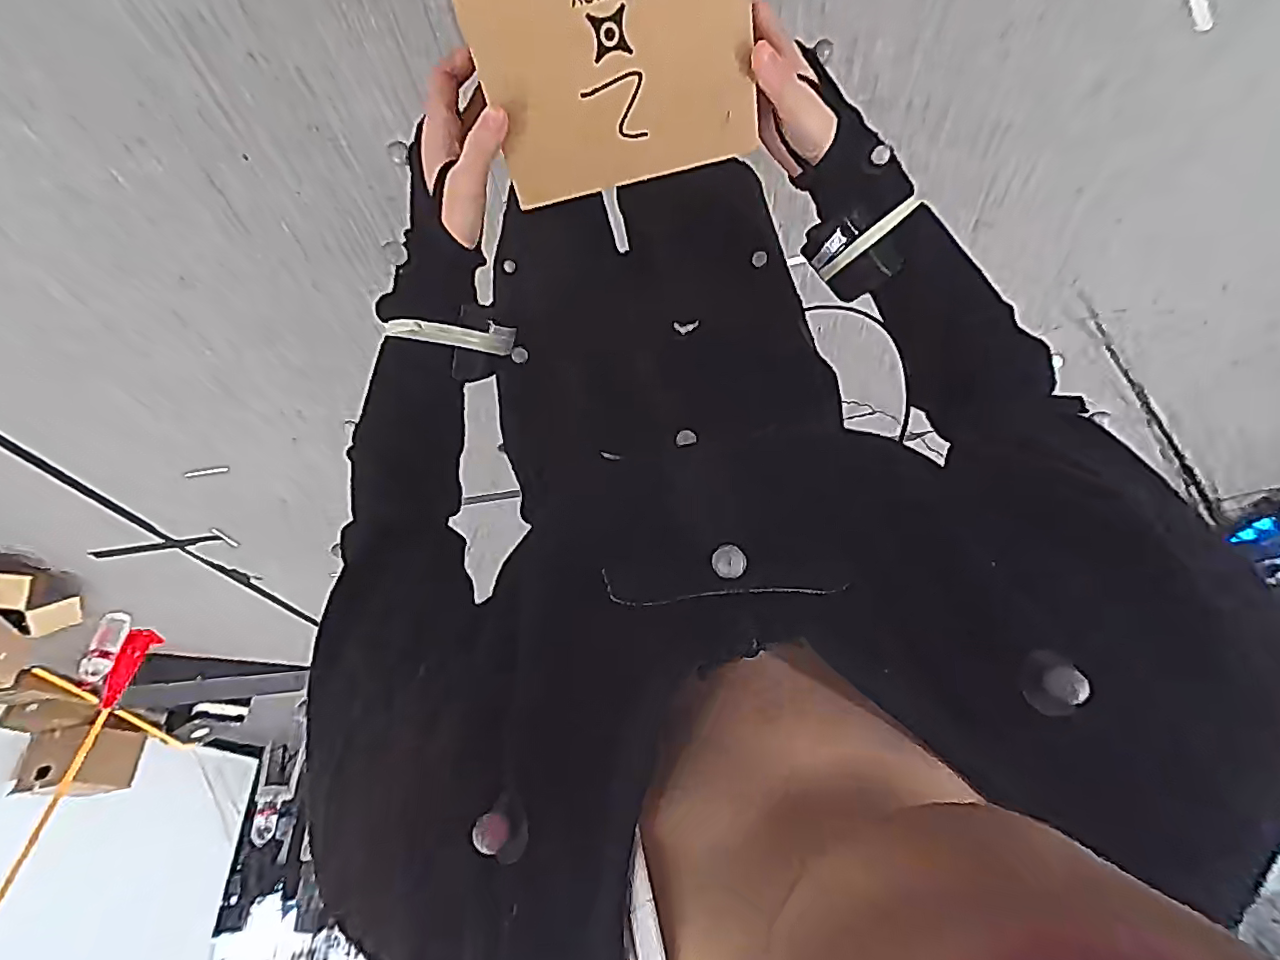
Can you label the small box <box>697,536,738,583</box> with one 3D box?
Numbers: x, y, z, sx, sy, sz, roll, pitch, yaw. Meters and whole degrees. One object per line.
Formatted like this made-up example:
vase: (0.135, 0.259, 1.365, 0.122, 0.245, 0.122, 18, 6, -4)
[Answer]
small box: (0.373, 0.383, 2.637, 0.168, 0.176, 0.179, -8, 146, 0)
